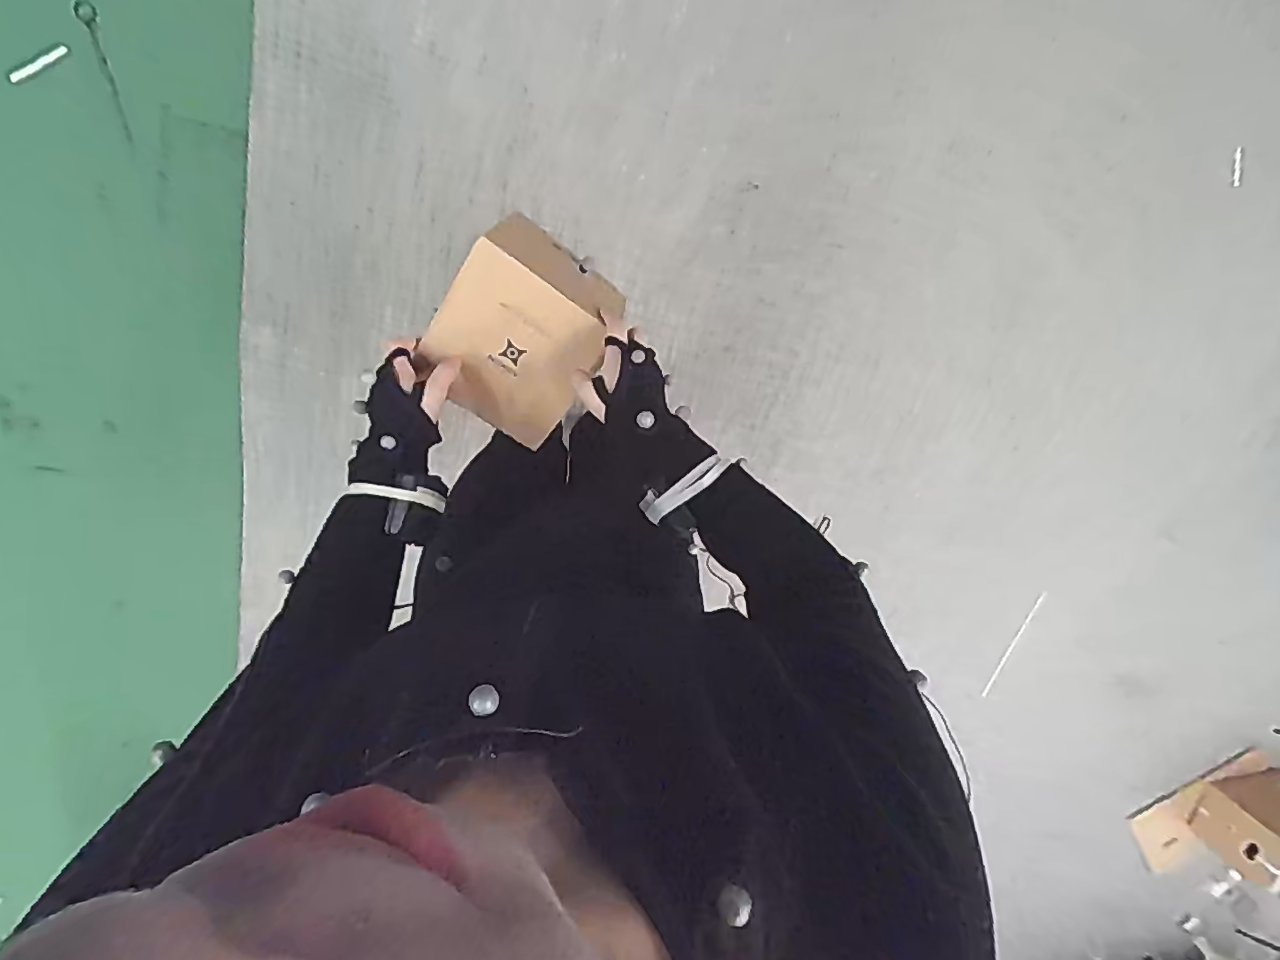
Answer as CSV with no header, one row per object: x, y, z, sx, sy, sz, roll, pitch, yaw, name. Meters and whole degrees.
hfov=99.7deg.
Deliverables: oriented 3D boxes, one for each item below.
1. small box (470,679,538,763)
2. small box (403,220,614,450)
-0.411,0.736,1.659,0.179,0.176,0.168,10,110,-13,small box
-0.142,-0.175,0.642,0.168,0.176,0.179,34,118,-20,small box
